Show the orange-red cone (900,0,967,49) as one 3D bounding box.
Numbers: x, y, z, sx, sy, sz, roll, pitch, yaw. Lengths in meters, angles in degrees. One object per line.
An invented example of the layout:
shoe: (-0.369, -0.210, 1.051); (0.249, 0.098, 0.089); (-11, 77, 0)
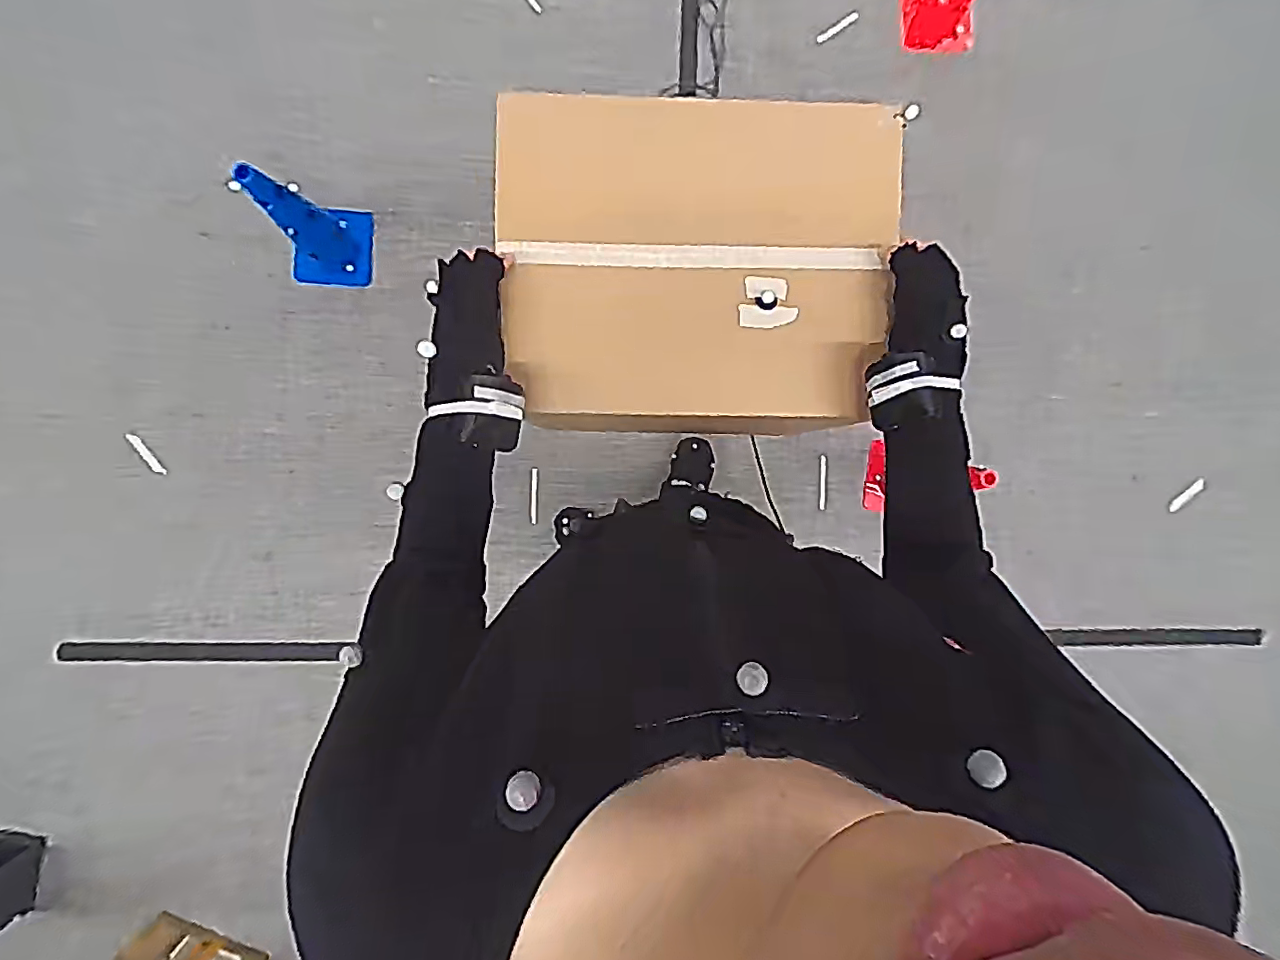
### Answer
orange-red cone: (0.830, -1.306, 1.336); (0.198, 0.360, 0.199); (-2, 89, -4)

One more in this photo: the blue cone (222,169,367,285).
blue cone: (-0.818, -0.611, 1.270); (0.192, 0.380, 0.193); (4, 90, -2)

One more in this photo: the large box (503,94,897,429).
large box: (0.055, -0.231, 0.693); (0.408, 0.320, 0.320); (1, 92, -2)

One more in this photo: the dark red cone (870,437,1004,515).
dark red cone: (0.740, -0.009, 1.321); (0.201, 0.394, 0.202); (7, 90, -2)
